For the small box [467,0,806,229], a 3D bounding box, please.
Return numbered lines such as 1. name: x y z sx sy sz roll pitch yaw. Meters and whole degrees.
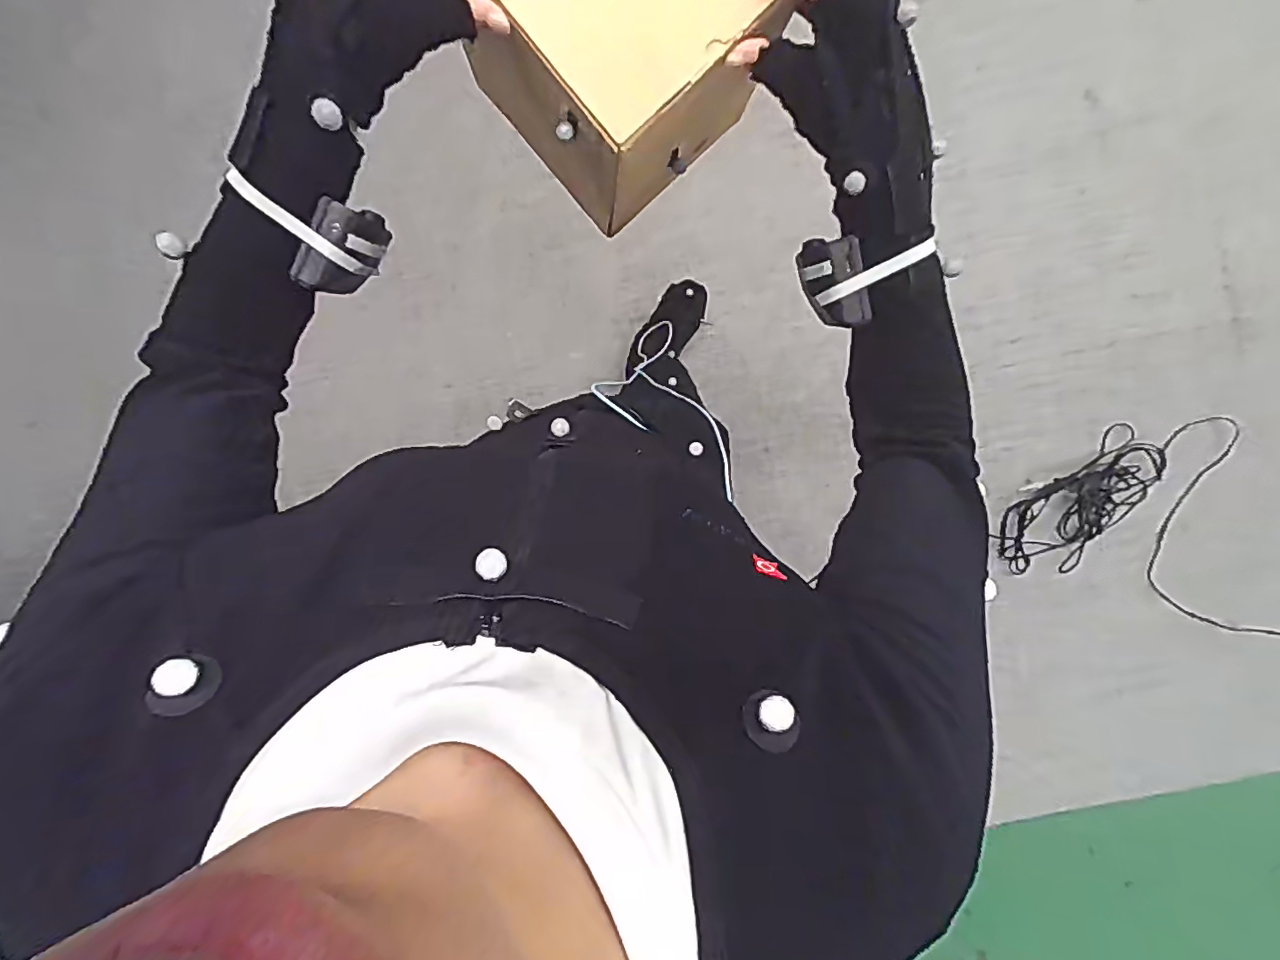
1. small box: -0.015 -0.330 0.407 0.168 0.176 0.179 -42 100 0
